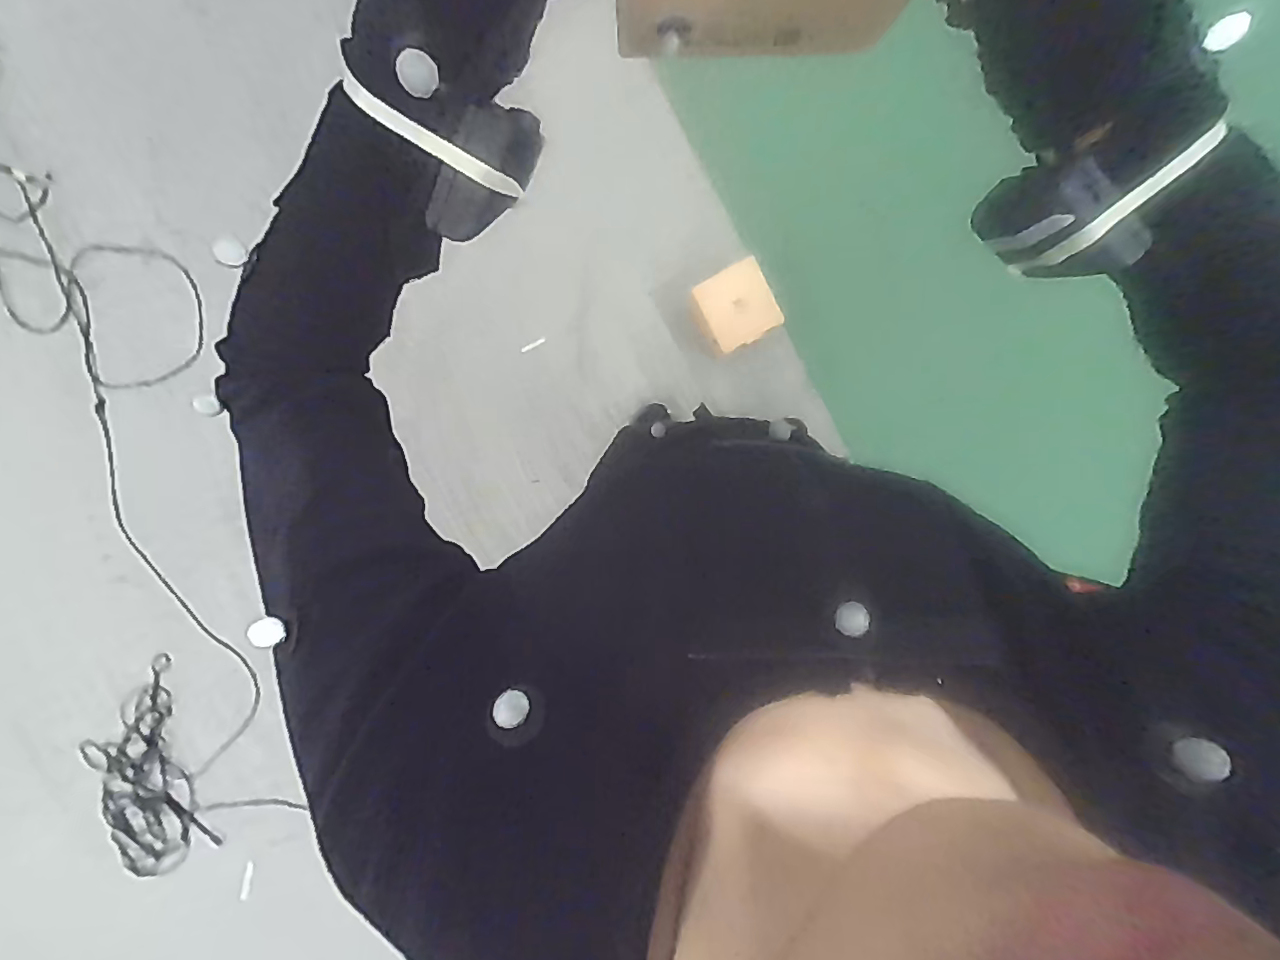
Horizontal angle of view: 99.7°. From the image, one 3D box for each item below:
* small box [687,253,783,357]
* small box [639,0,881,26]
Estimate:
[{"bbox_3d":[0.228,-0.425,1.344,0.168,0.176,0.179,-29,95,5],"label":"small box"},{"bbox_3d":[0.068,-0.356,0.251,0.168,0.176,0.179,-1,99,-1],"label":"small box"}]
